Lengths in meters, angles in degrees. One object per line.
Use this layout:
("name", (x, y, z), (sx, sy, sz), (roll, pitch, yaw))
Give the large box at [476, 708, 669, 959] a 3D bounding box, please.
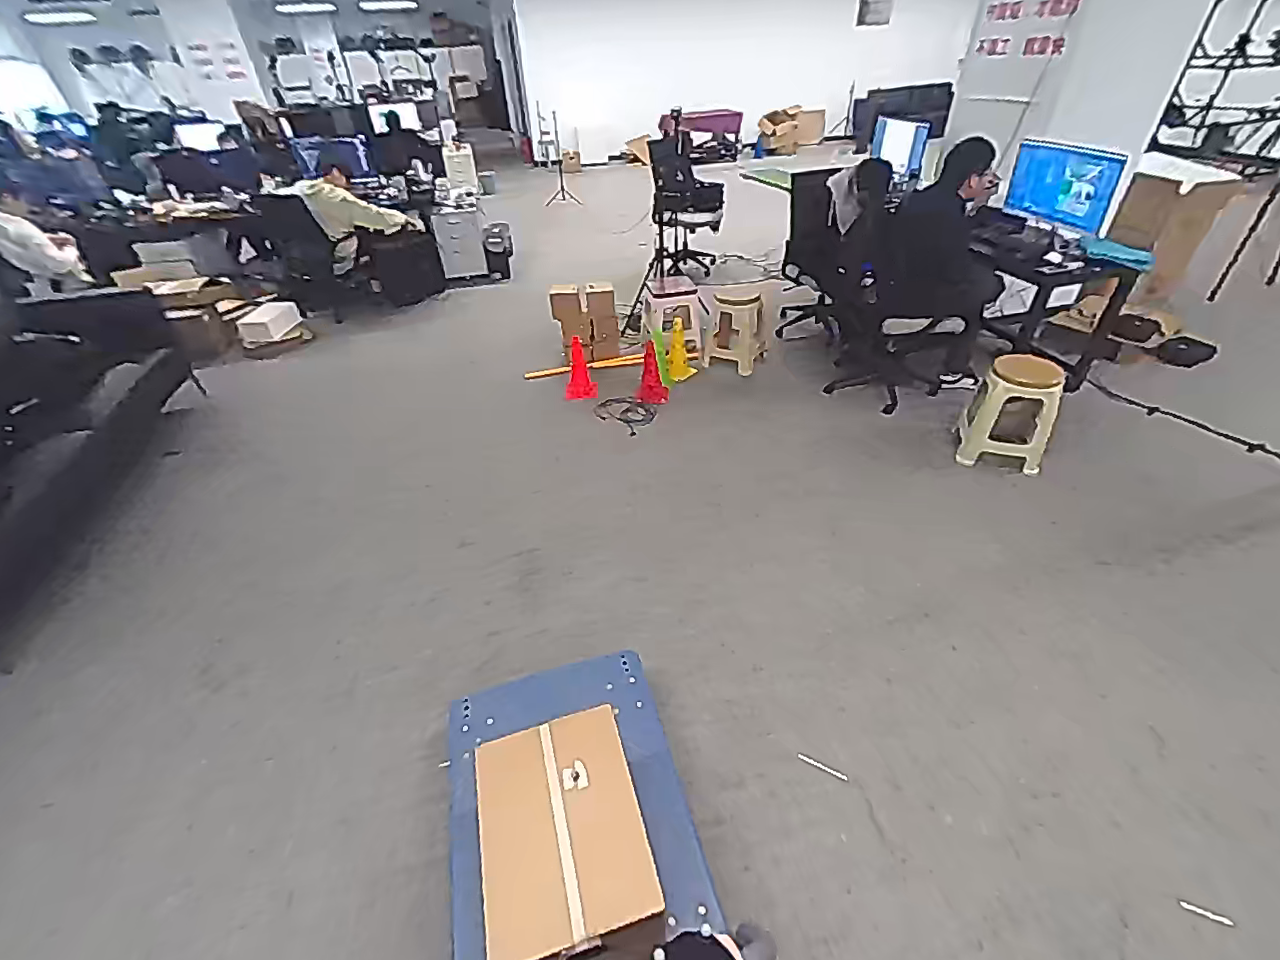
("large box", (-0.150, 0.795, 1.172), (0.320, 0.320, 0.408), (-13, 39, -11))
